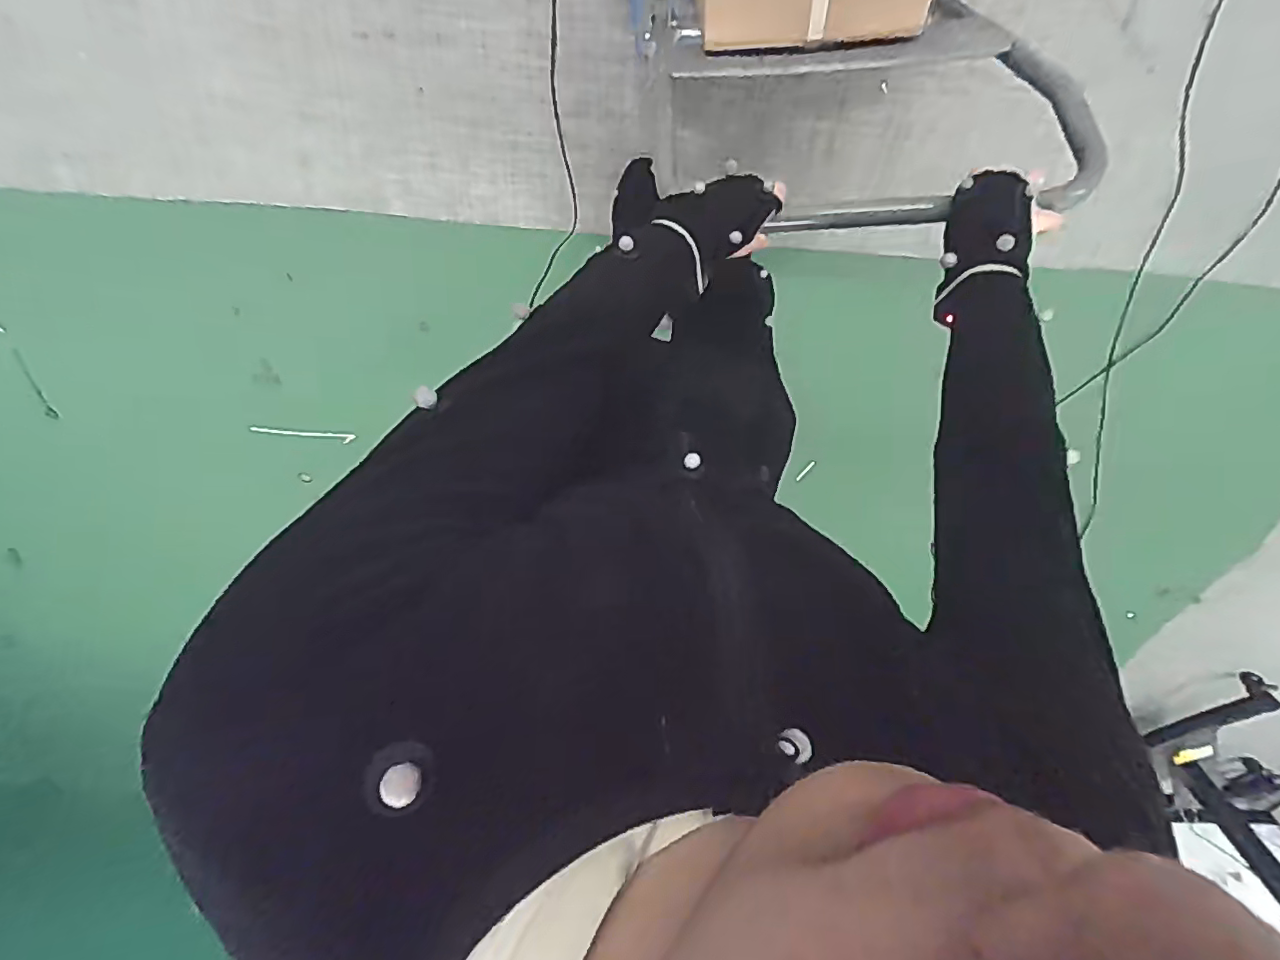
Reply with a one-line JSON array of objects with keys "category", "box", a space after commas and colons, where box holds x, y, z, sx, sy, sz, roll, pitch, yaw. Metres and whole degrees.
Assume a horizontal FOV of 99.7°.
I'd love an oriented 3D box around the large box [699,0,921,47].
[{"category": "large box", "box": [0.237, -0.896, 0.756, 0.320, 0.320, 0.408, -2, 137, 4]}]
